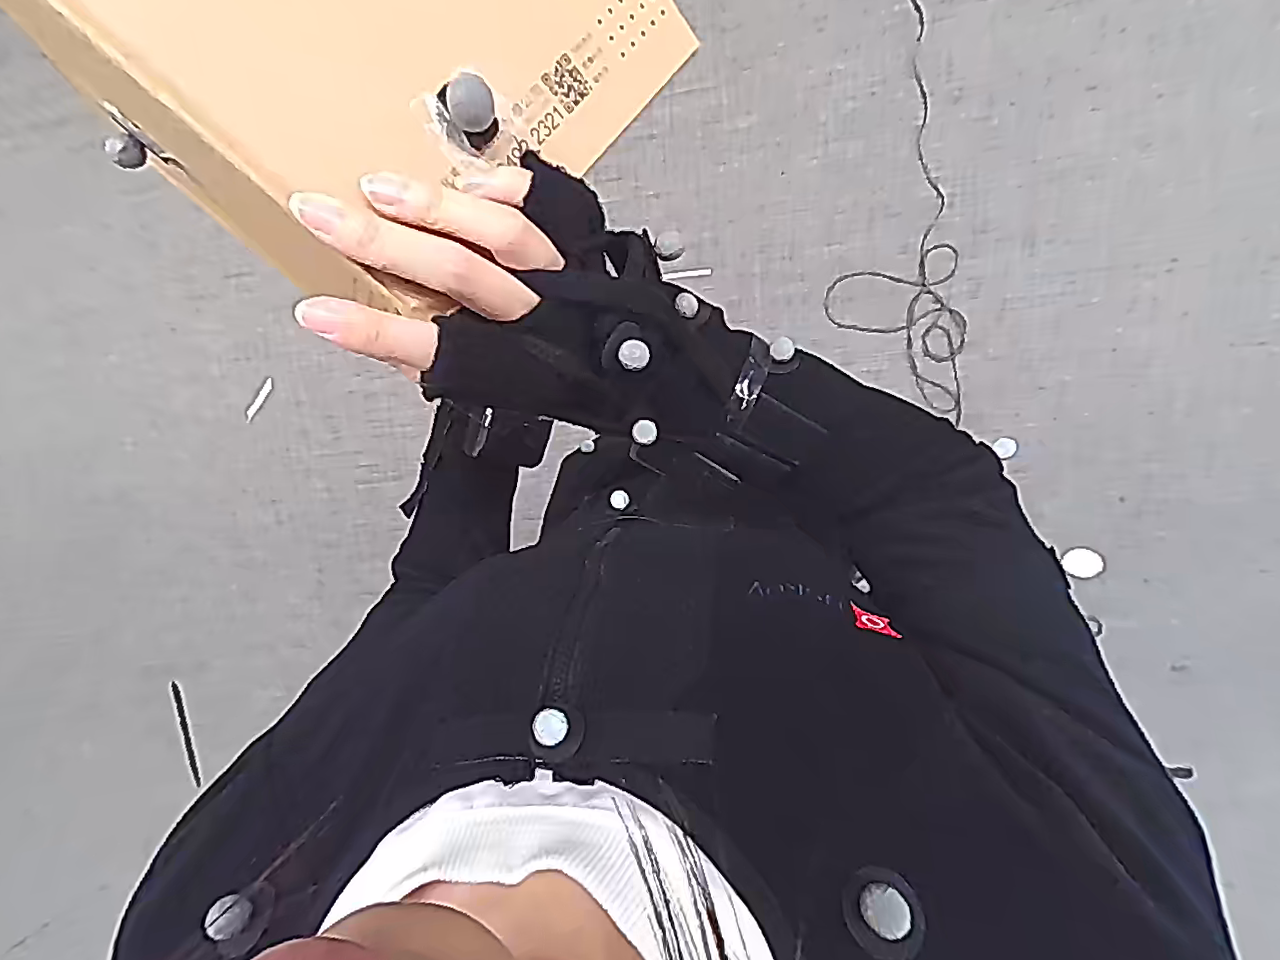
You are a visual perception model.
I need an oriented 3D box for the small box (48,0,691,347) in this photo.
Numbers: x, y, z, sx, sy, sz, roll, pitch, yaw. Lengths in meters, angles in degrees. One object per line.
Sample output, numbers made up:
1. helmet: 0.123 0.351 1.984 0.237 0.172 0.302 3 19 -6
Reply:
1. small box: -0.112 -0.181 0.258 0.176 0.179 0.168 42 79 -26
